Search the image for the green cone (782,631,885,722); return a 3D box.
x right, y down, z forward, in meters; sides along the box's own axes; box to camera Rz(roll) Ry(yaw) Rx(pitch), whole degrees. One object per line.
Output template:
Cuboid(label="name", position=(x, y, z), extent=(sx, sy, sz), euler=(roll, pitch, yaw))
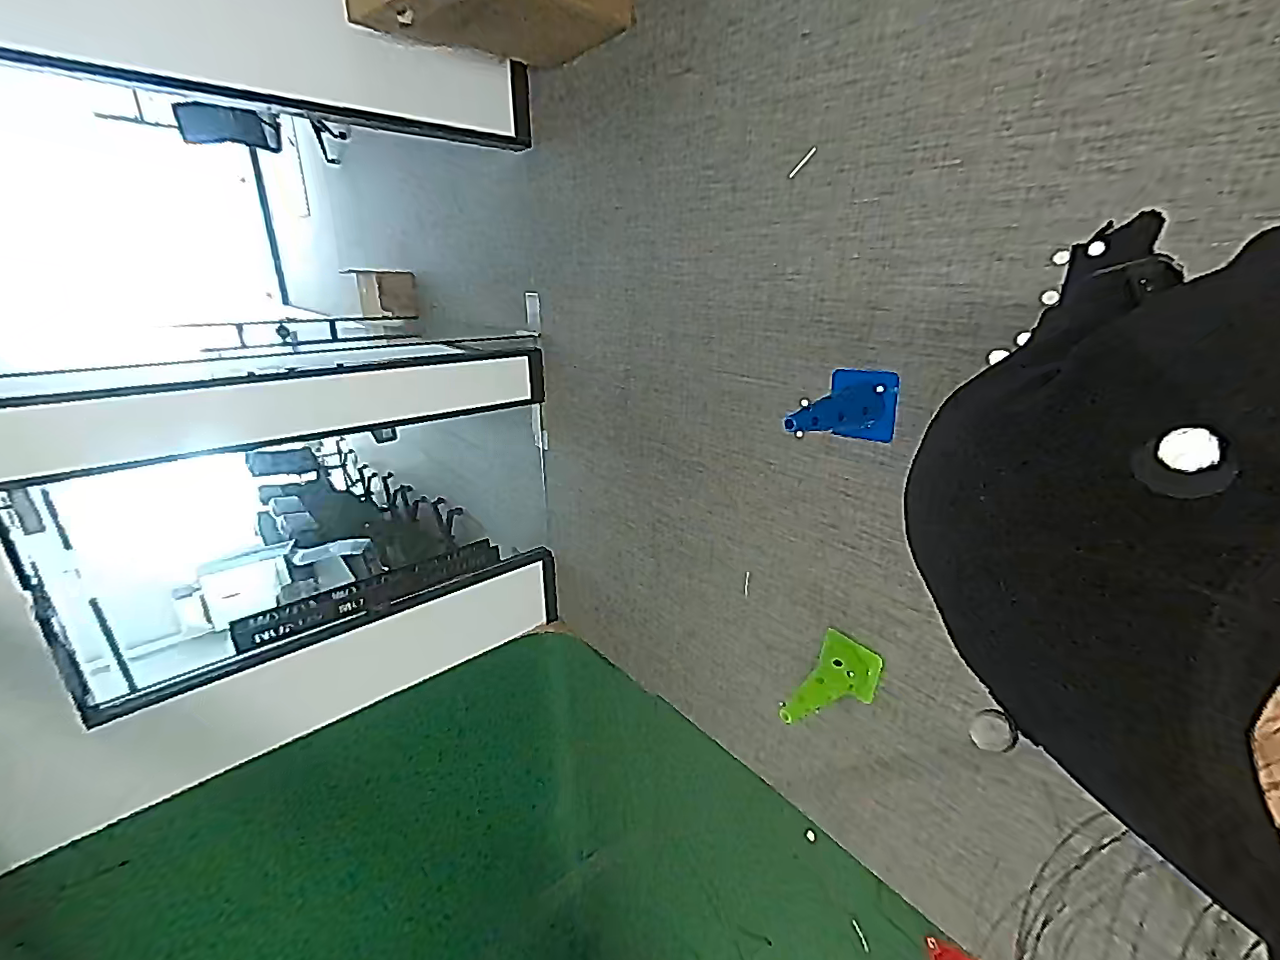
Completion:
Cuboid(label="green cone", position=(0.568, 0.657, 1.680), extent=(0.200, 0.368, 0.202), euler=(27, 122, 44))
